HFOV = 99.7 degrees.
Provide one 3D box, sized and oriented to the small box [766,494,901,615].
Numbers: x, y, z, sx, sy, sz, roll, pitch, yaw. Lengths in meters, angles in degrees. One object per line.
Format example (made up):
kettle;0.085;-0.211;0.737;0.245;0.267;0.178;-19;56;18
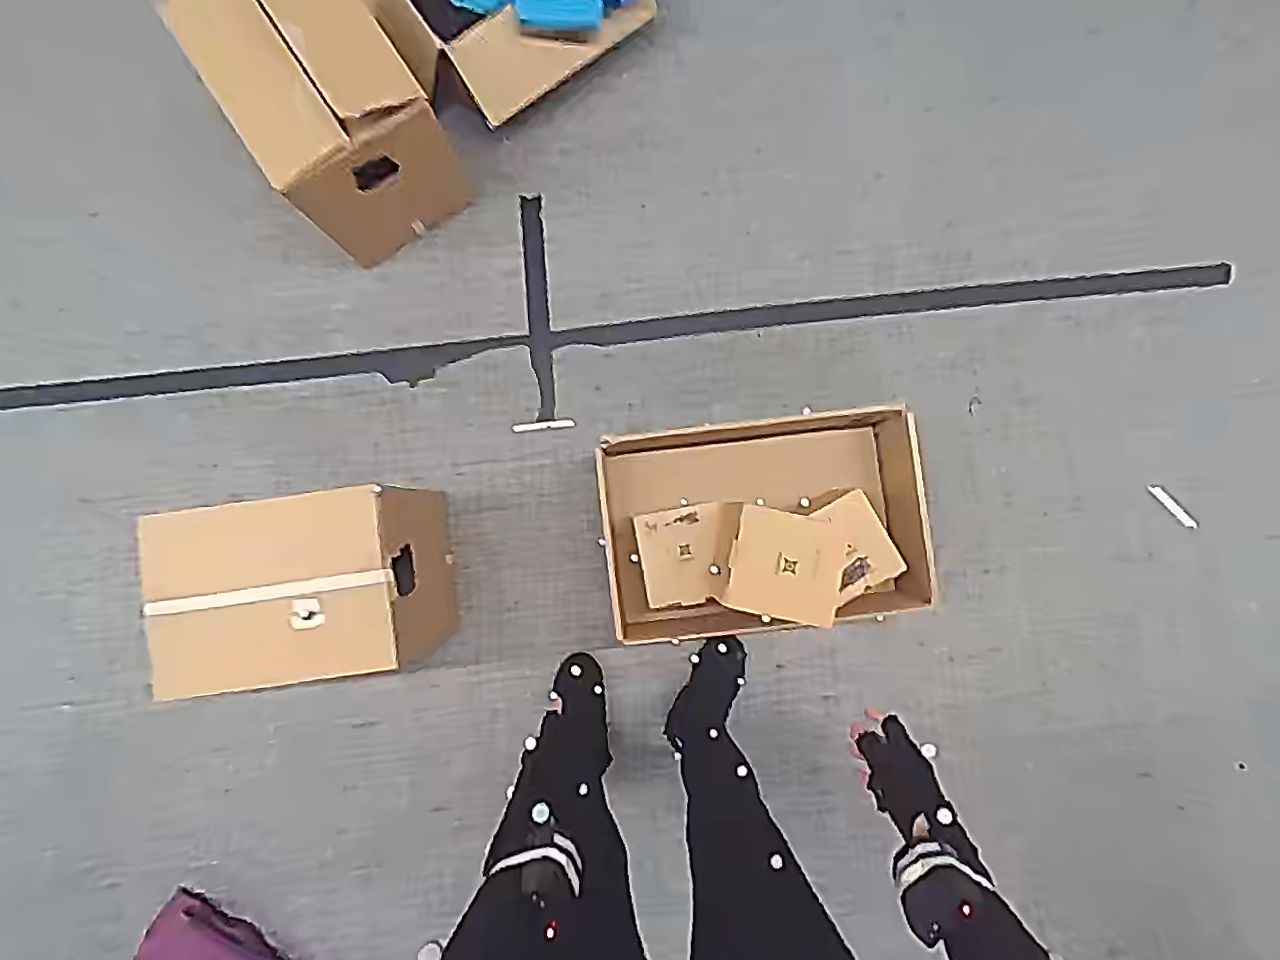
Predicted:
small box;0.377;0.142;1.085;0.168;0.176;0.179;-29;86;-1

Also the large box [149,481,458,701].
large box;-0.614;0.195;1.052;0.408;0.320;0.320;-8;87;-2
